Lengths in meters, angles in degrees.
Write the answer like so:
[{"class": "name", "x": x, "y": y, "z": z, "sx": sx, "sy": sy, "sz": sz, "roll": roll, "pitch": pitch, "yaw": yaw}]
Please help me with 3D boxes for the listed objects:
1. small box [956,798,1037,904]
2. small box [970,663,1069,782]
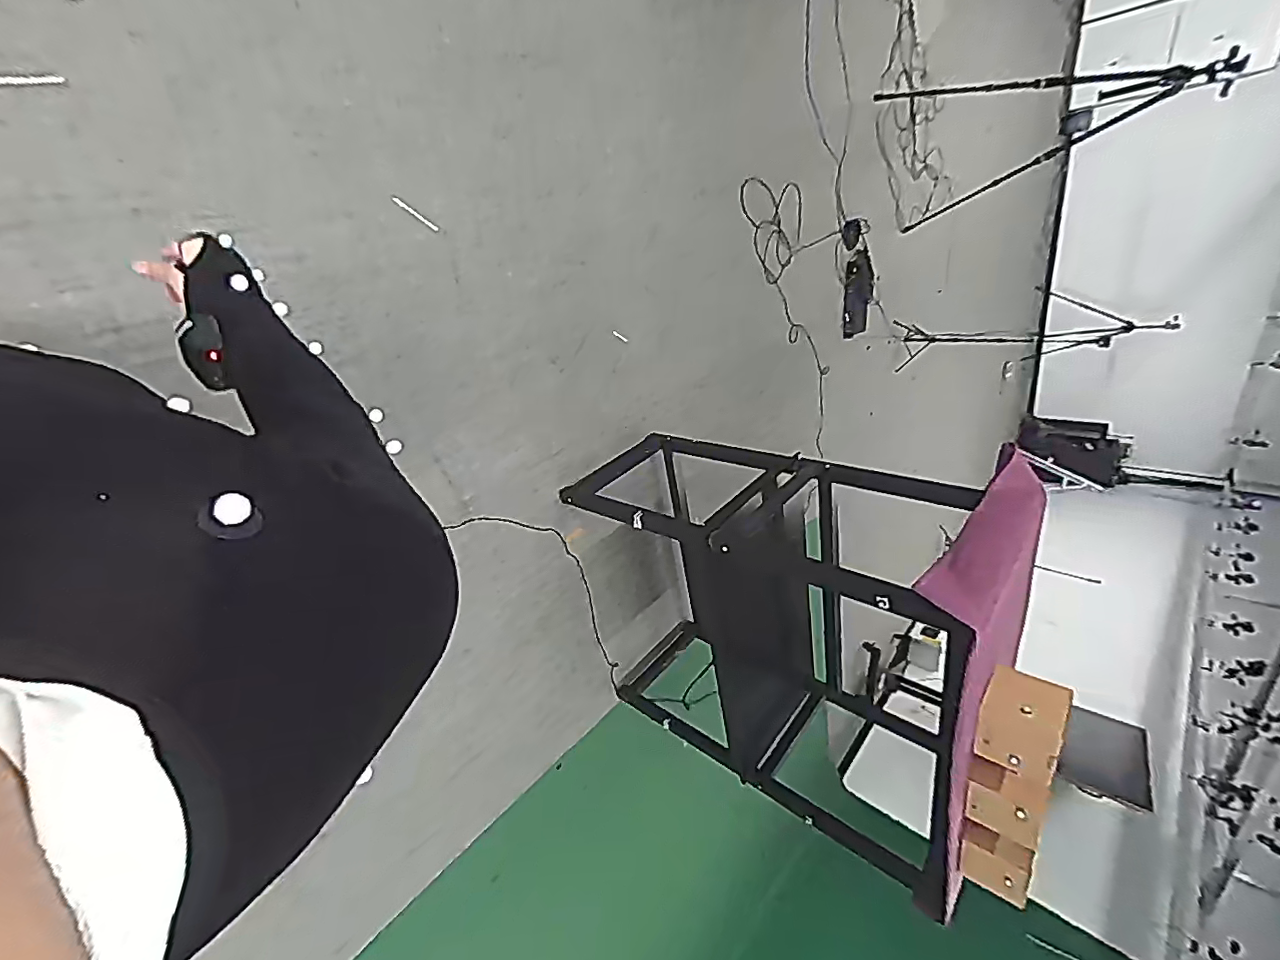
[{"class": "small box", "x": 1.053, "y": 1.086, "z": 1.603, "sx": 0.168, "sy": 0.176, "sz": 0.179, "roll": -34, "pitch": 124, "yaw": -38}, {"class": "small box", "x": 0.950, "y": 0.601, "z": 1.360, "sx": 0.179, "sy": 0.176, "sz": 0.168, "roll": -33, "pitch": 124, "yaw": -39}]
